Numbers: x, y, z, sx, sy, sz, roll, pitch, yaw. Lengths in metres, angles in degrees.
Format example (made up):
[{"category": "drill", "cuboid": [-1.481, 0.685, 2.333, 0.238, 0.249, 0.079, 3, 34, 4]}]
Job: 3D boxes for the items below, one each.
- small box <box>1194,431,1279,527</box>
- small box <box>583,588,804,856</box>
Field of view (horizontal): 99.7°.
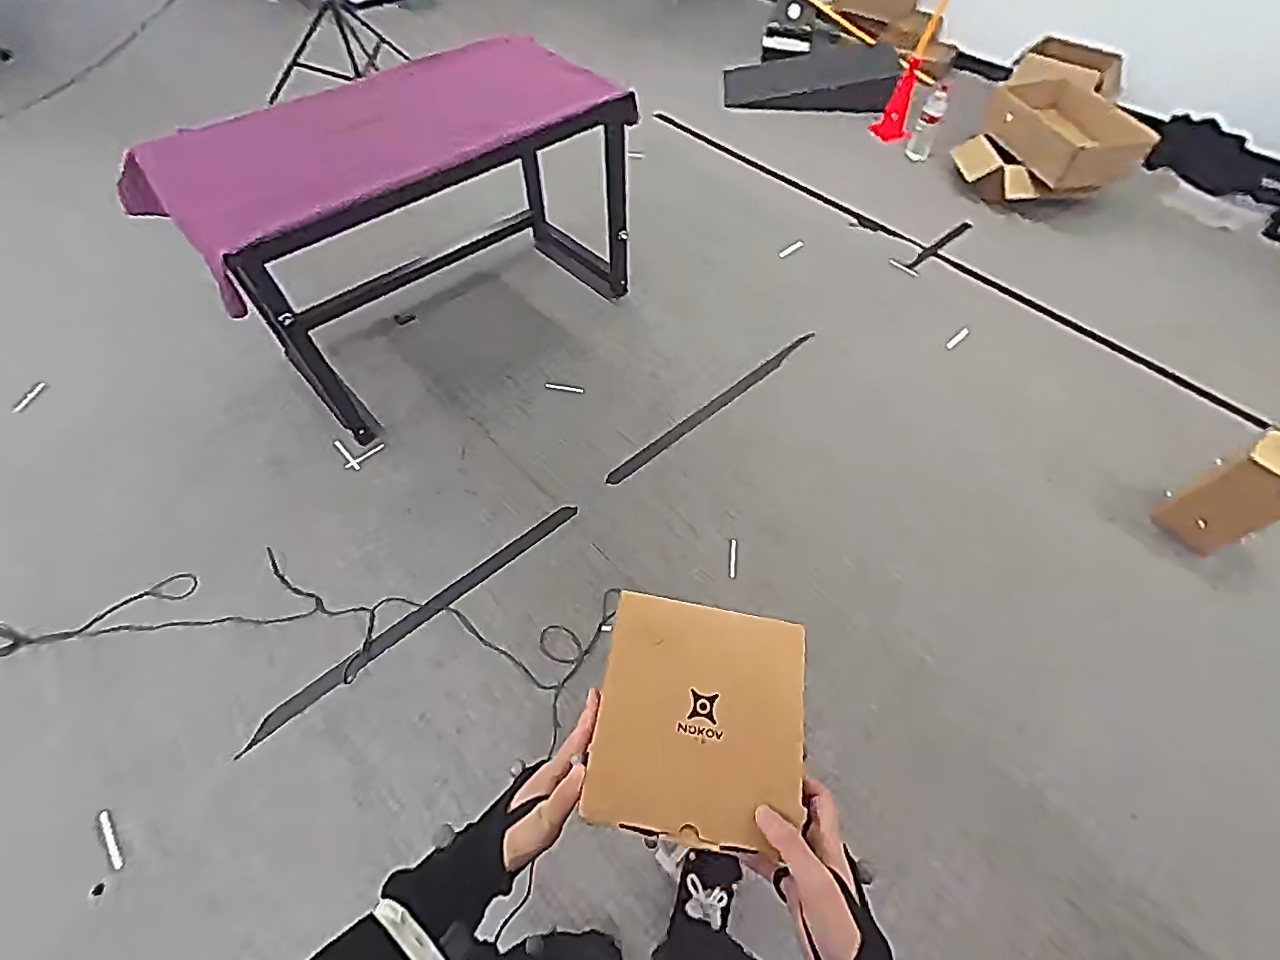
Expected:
[{"category": "small box", "cuboid": [1.709, 0.006, 1.481, 0.168, 0.176, 0.179, -33, 63, -21]}, {"category": "small box", "cuboid": [0.042, 0.223, 0.501, 0.168, 0.176, 0.179, 11, 60, 0]}]
